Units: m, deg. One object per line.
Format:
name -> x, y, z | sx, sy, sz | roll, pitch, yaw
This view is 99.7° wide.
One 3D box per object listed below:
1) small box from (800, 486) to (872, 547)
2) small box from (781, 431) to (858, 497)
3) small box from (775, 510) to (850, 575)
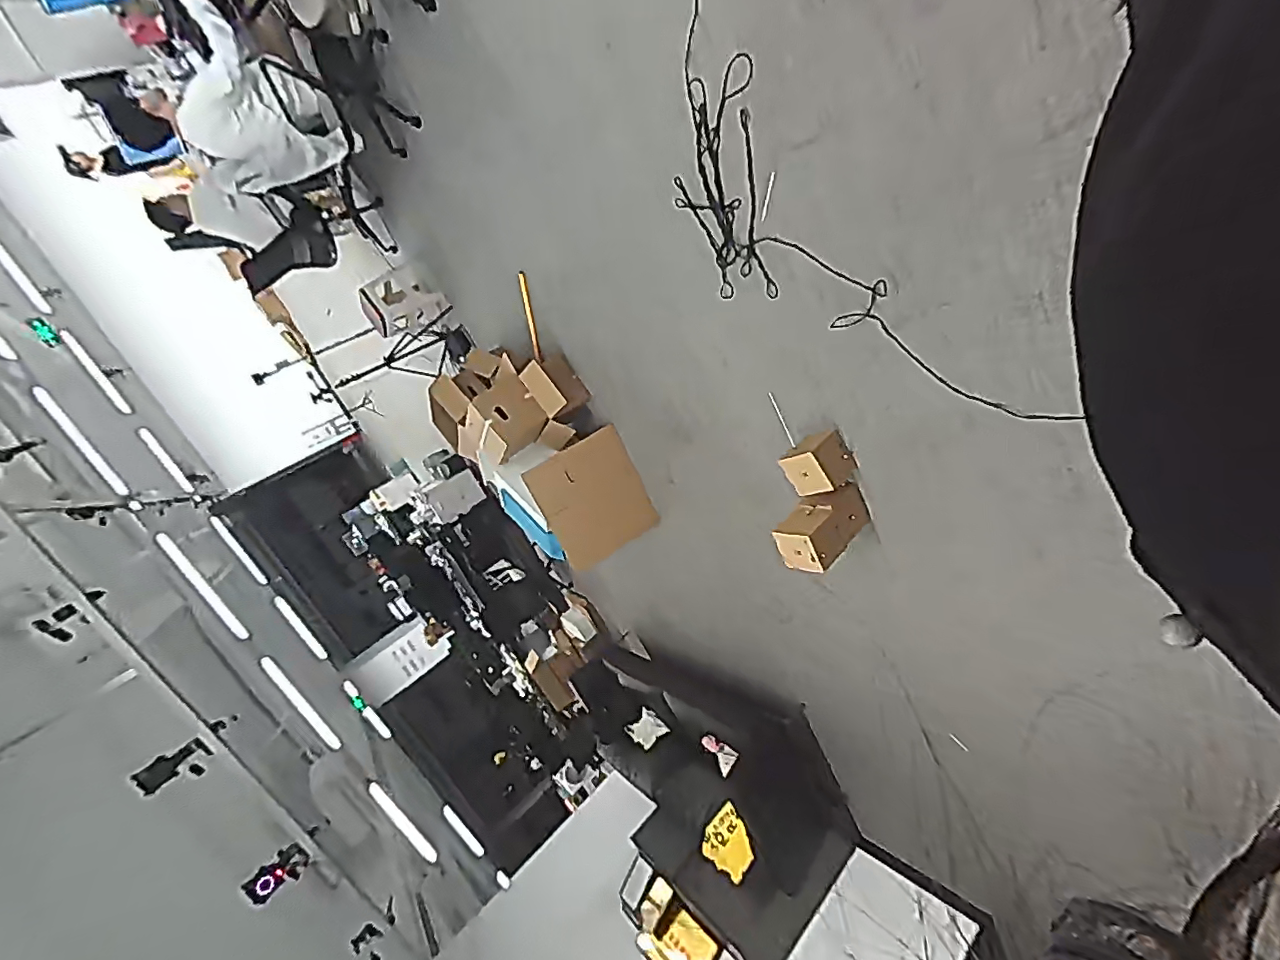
small box -> 0.751, 0.130, 2.067 | 0.168, 0.176, 0.179 | -1, 122, 58
small box -> 0.662, -0.057, 1.990 | 0.168, 0.176, 0.179 | 56, 152, -8
small box -> 0.637, 0.223, 1.993 | 0.179, 0.176, 0.168 | 2, 124, 58
